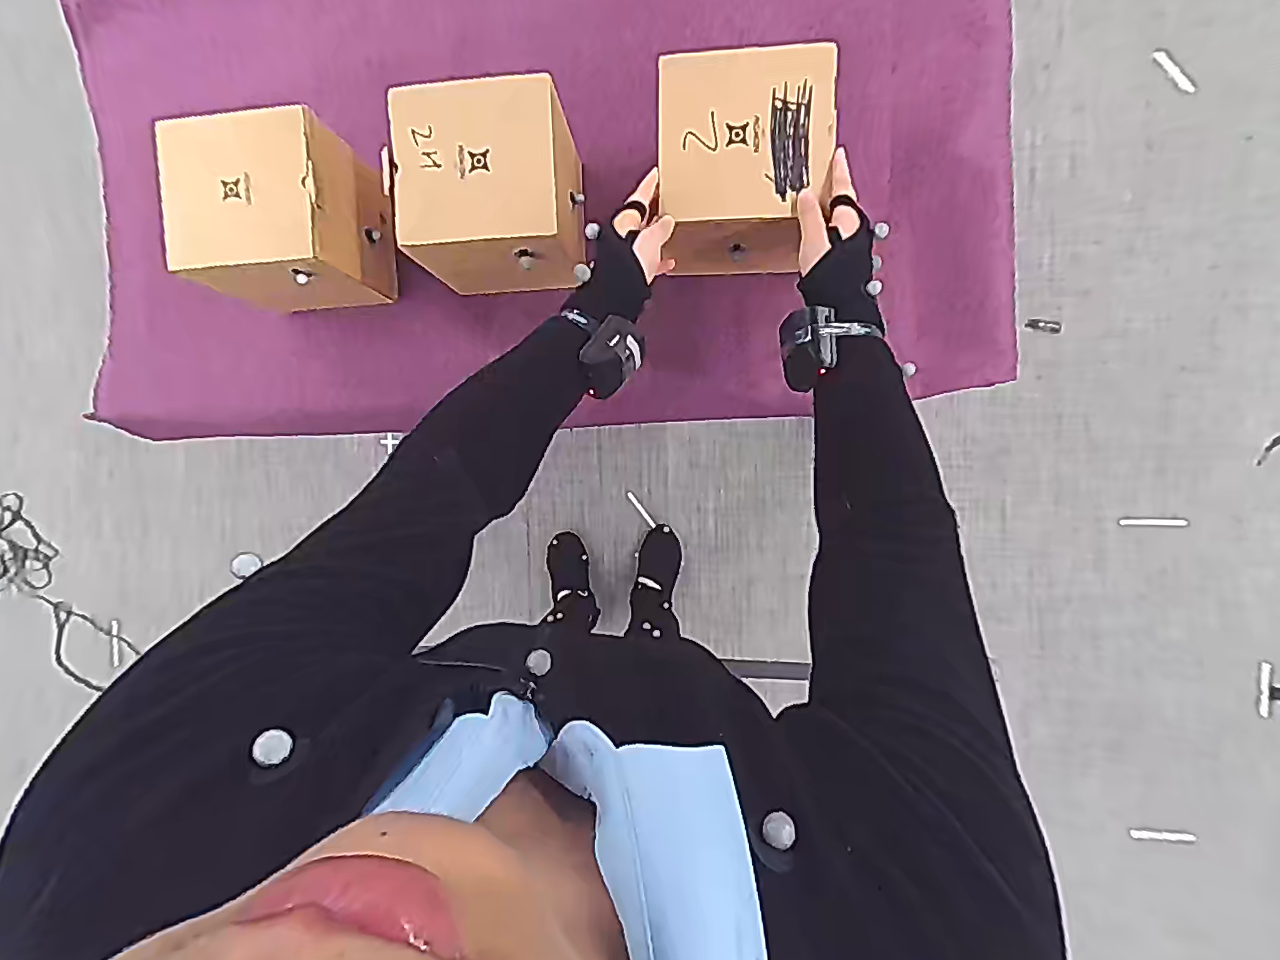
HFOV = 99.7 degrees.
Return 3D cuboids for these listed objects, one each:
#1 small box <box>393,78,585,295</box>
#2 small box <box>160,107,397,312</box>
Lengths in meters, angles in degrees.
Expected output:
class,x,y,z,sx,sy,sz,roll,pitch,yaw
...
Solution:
class,x,y,z,sx,sy,sz,roll,pitch,yaw
small box,-0.163,-0.329,0.640,0.179,0.176,0.168,-2,91,6
small box,-0.429,-0.314,0.665,0.179,0.176,0.168,-4,91,4
